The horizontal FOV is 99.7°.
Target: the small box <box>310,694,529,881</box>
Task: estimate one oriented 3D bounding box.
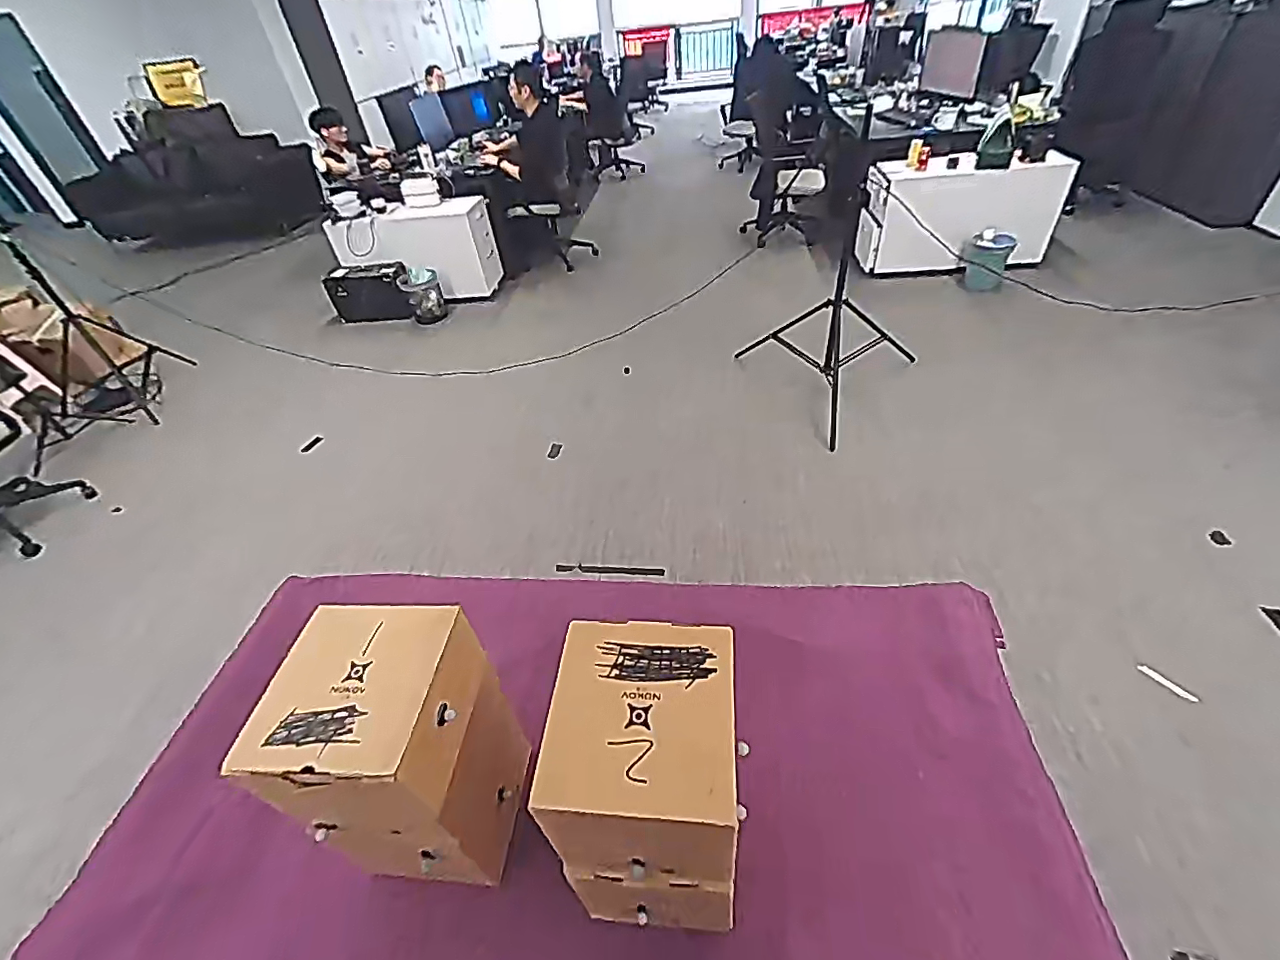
[{"bbox_3d":[-0.254,0.381,0.679,0.179,0.176,0.168,-1,41,8],"label":"small box"}]

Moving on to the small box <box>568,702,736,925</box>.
[{"bbox_3d":[0.024,0.386,0.633,0.168,0.176,0.179,-1,41,8],"label":"small box"}]

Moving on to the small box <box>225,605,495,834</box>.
[{"bbox_3d":[-0.269,0.254,0.576,0.168,0.176,0.179,-1,41,6],"label":"small box"}]
